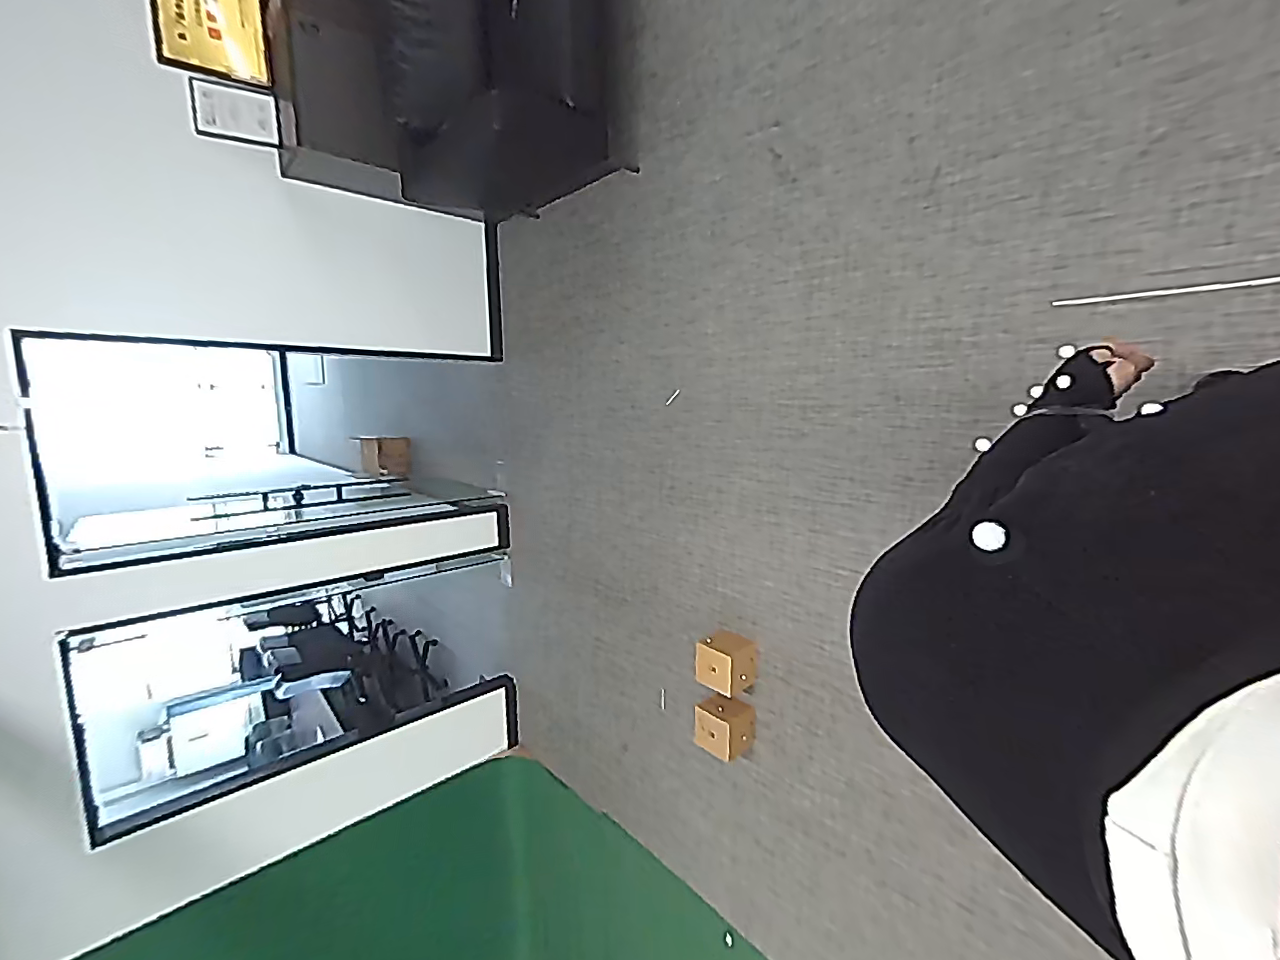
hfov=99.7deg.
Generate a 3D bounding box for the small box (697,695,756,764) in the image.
[{"bbox_3d":[0.346,0.983,2.152,0.179,0.176,0.168,9,102,47],"label":"small box"}]

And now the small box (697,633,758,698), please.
[{"bbox_3d":[0.345,0.718,2.119,0.179,0.176,0.168,9,102,47],"label":"small box"}]
